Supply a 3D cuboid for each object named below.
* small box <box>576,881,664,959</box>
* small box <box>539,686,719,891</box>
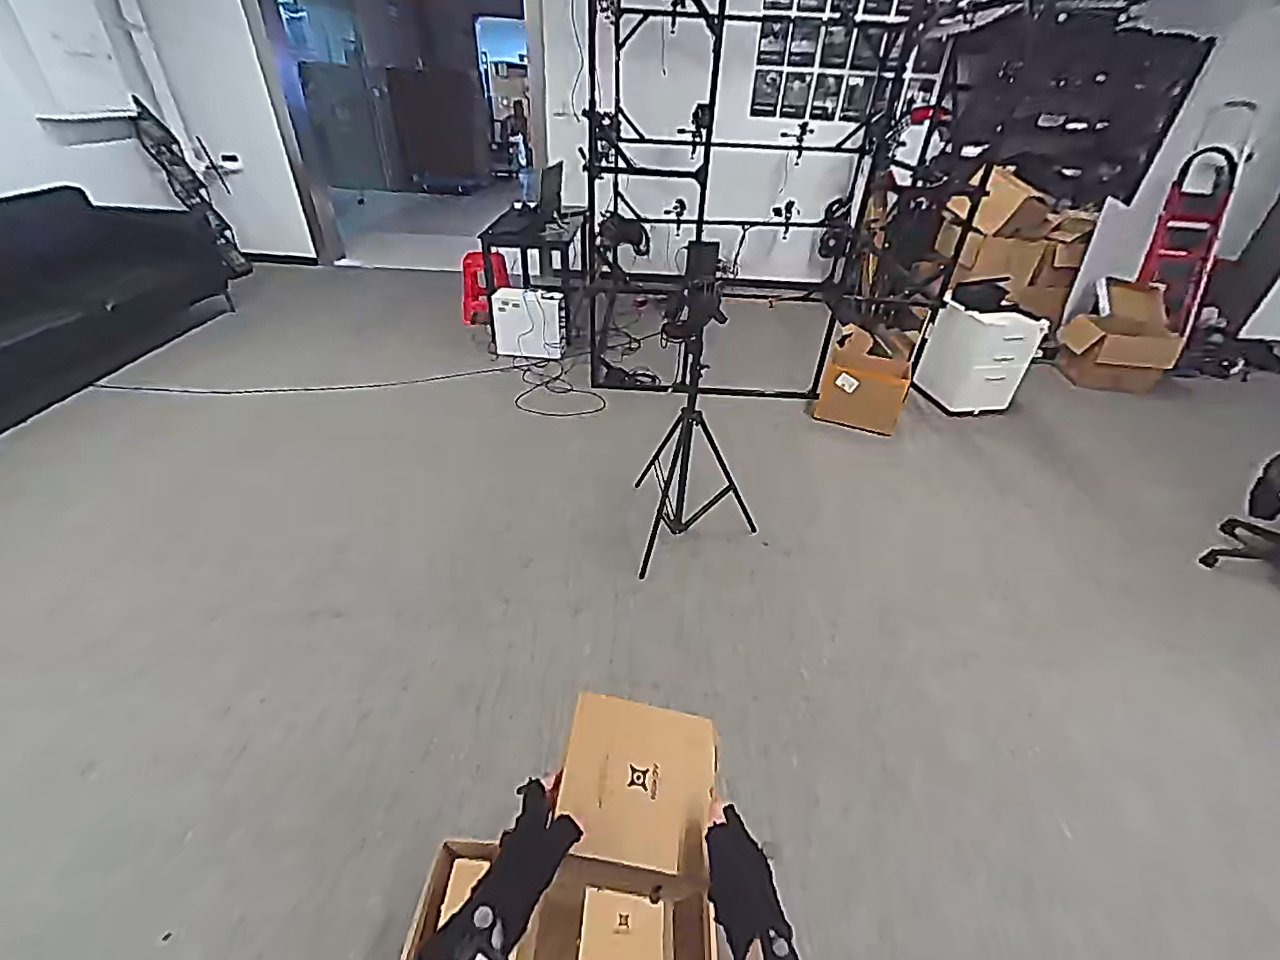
[{"bbox_3d":[-0.035,0.955,1.125,0.168,0.176,0.179,2,37,4],"label":"small box"},{"bbox_3d":[-0.014,0.373,0.646,0.179,0.176,0.168,12,45,-4],"label":"small box"}]
